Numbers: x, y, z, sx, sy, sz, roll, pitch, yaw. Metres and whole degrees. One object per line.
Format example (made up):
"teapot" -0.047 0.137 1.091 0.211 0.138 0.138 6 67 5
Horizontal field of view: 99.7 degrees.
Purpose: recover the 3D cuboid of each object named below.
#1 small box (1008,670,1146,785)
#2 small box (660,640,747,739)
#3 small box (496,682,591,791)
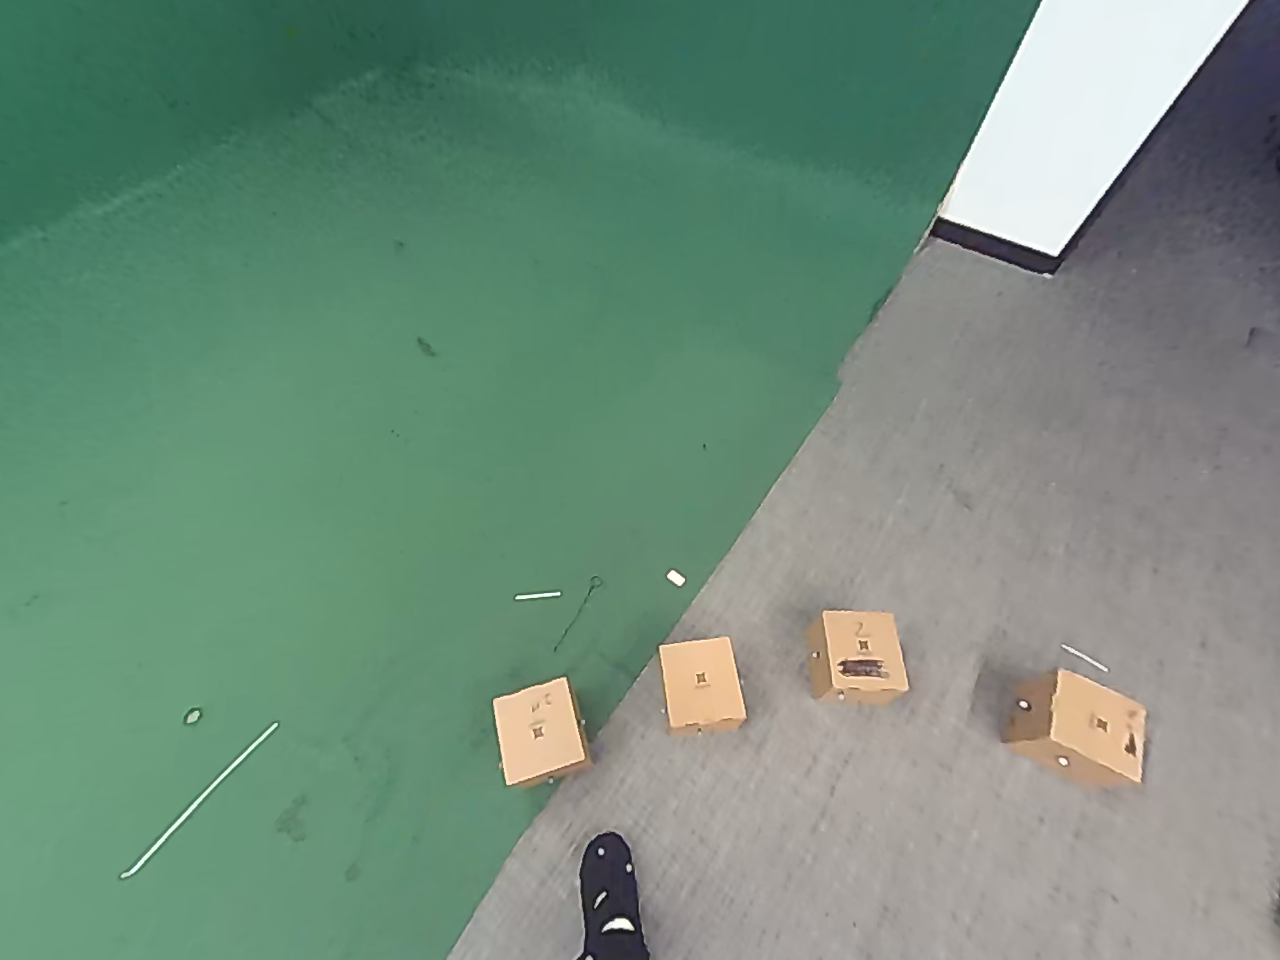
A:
"small box" 0.959 0.554 1.199 0.179 0.176 0.168 25 63 16
"small box" 0.139 0.490 1.257 0.168 0.176 0.179 -7 59 -3
"small box" -0.211 0.576 1.208 0.168 0.176 0.179 -15 59 -9
